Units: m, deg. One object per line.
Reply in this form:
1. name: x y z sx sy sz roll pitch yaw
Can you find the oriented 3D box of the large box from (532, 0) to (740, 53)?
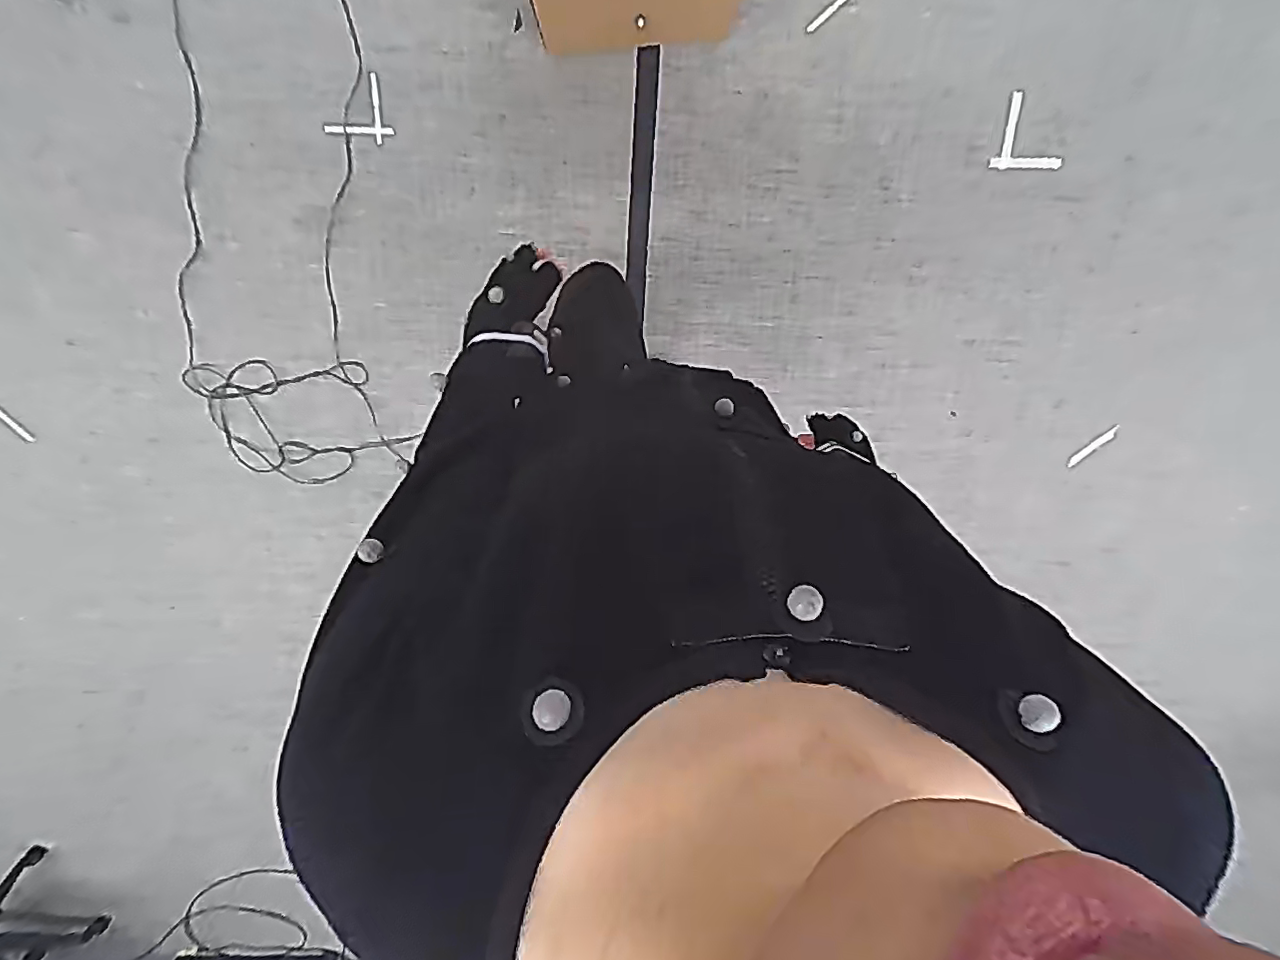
1. large box: -0.015 -1.059 1.011 0.408 0.320 0.320 -5 108 0
